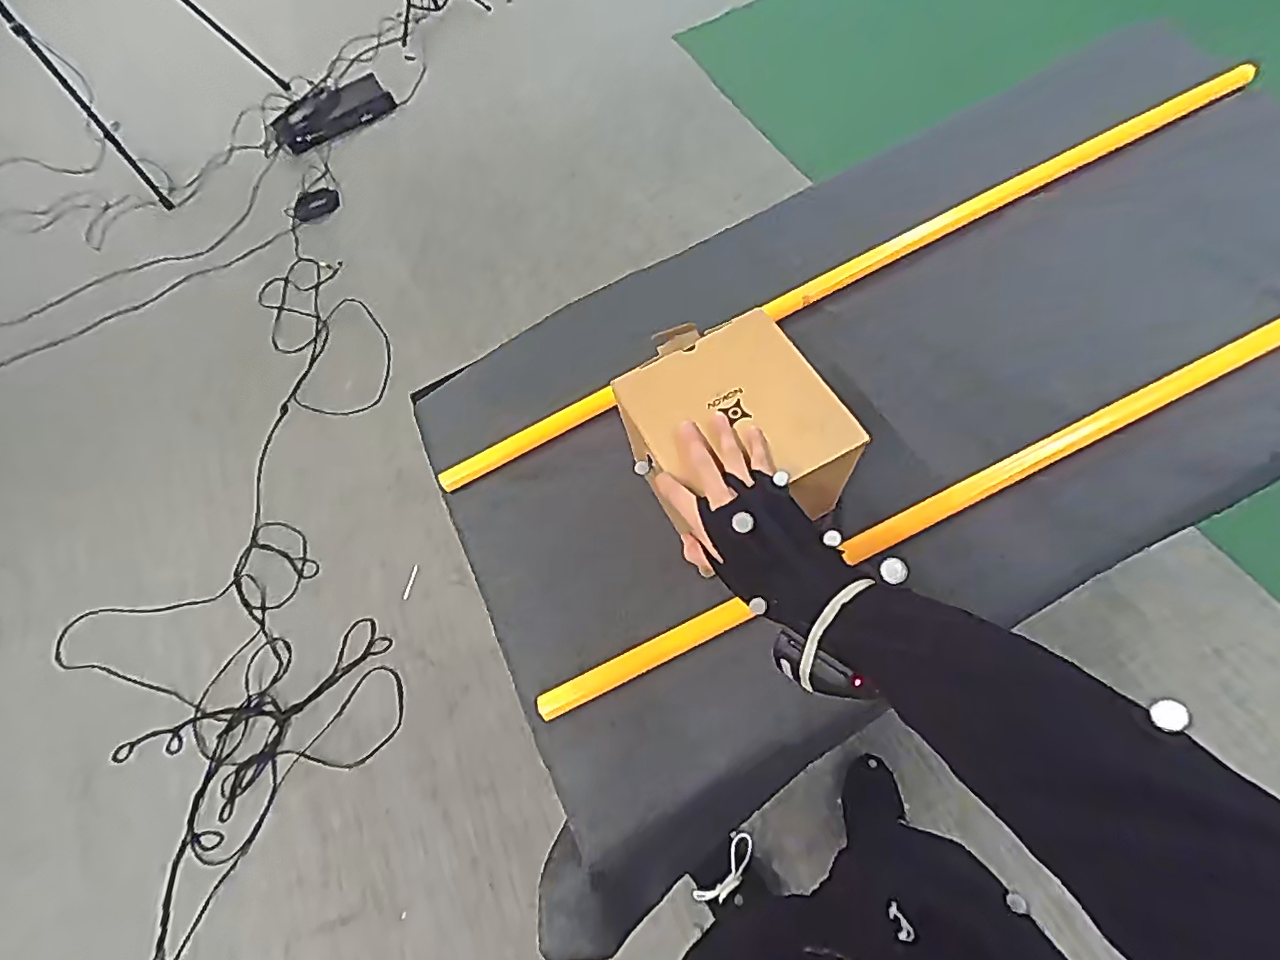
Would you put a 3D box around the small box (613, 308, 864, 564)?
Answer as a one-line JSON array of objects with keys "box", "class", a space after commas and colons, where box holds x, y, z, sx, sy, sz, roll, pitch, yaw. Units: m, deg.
[{"box": [0.095, -0.031, 0.555, 0.168, 0.176, 0.179, -28, 63, -4], "class": "small box"}]
